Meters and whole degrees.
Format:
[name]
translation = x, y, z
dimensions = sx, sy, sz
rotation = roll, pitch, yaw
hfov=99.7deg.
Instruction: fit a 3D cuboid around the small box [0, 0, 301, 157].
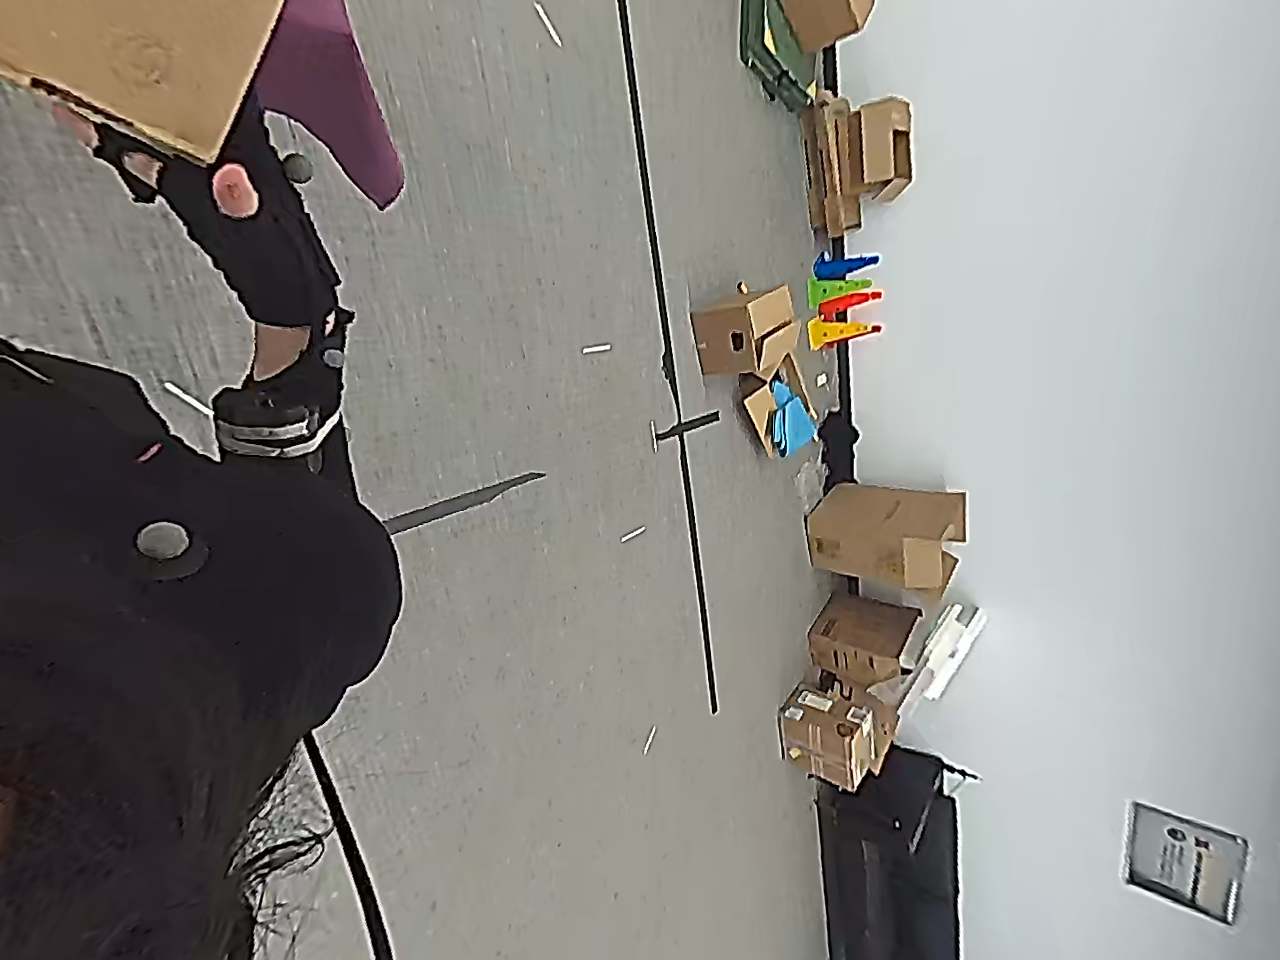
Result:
[small box]
translation = -0.245, -0.274, 0.197
dimensions = 0.179, 0.176, 0.168
rotation = -57, 162, 11
